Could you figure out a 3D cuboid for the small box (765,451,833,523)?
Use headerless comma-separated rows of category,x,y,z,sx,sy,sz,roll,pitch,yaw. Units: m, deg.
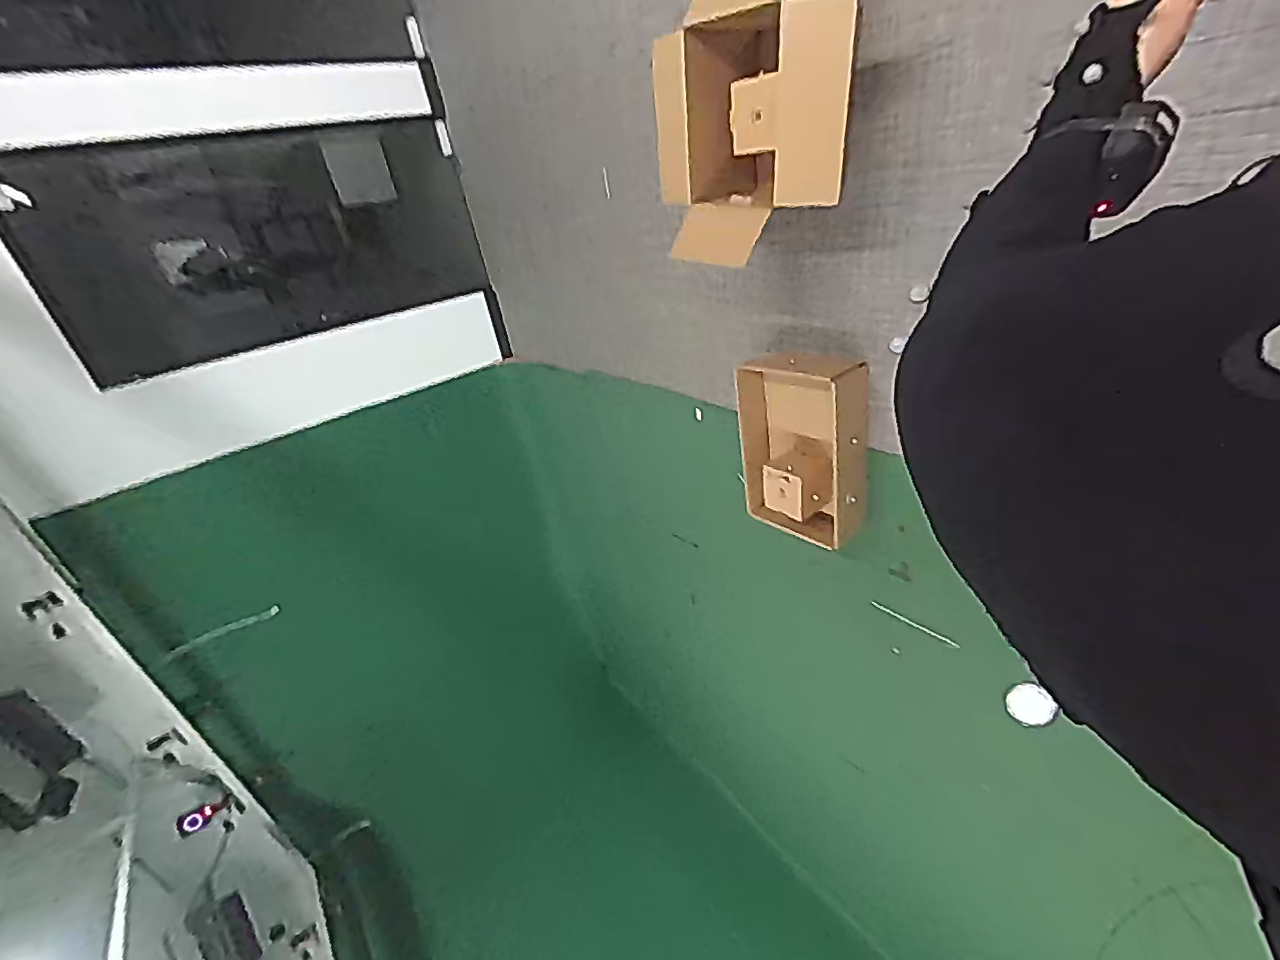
small box,0.564,0.019,1.913,0.168,0.176,0.179,27,134,49
